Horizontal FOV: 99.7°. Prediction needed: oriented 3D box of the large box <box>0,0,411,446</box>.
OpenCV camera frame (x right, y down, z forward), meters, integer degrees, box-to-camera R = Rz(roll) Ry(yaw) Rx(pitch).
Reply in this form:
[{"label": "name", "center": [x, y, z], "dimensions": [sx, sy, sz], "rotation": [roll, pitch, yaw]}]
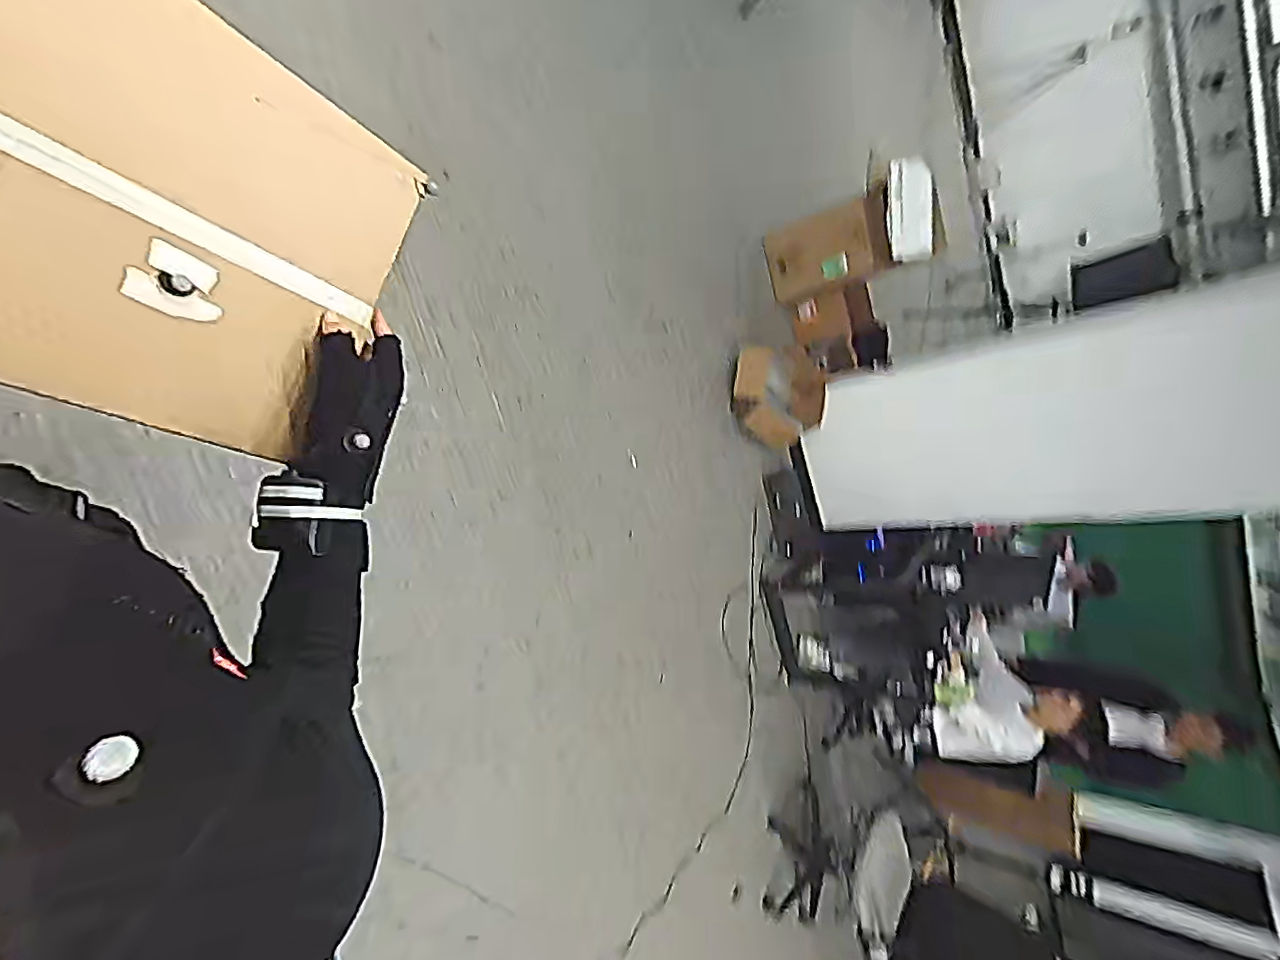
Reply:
[{"label": "large box", "center": [-0.503, -0.250, 0.483], "dimensions": [0.408, 0.320, 0.320], "rotation": [23, 84, -47]}]
